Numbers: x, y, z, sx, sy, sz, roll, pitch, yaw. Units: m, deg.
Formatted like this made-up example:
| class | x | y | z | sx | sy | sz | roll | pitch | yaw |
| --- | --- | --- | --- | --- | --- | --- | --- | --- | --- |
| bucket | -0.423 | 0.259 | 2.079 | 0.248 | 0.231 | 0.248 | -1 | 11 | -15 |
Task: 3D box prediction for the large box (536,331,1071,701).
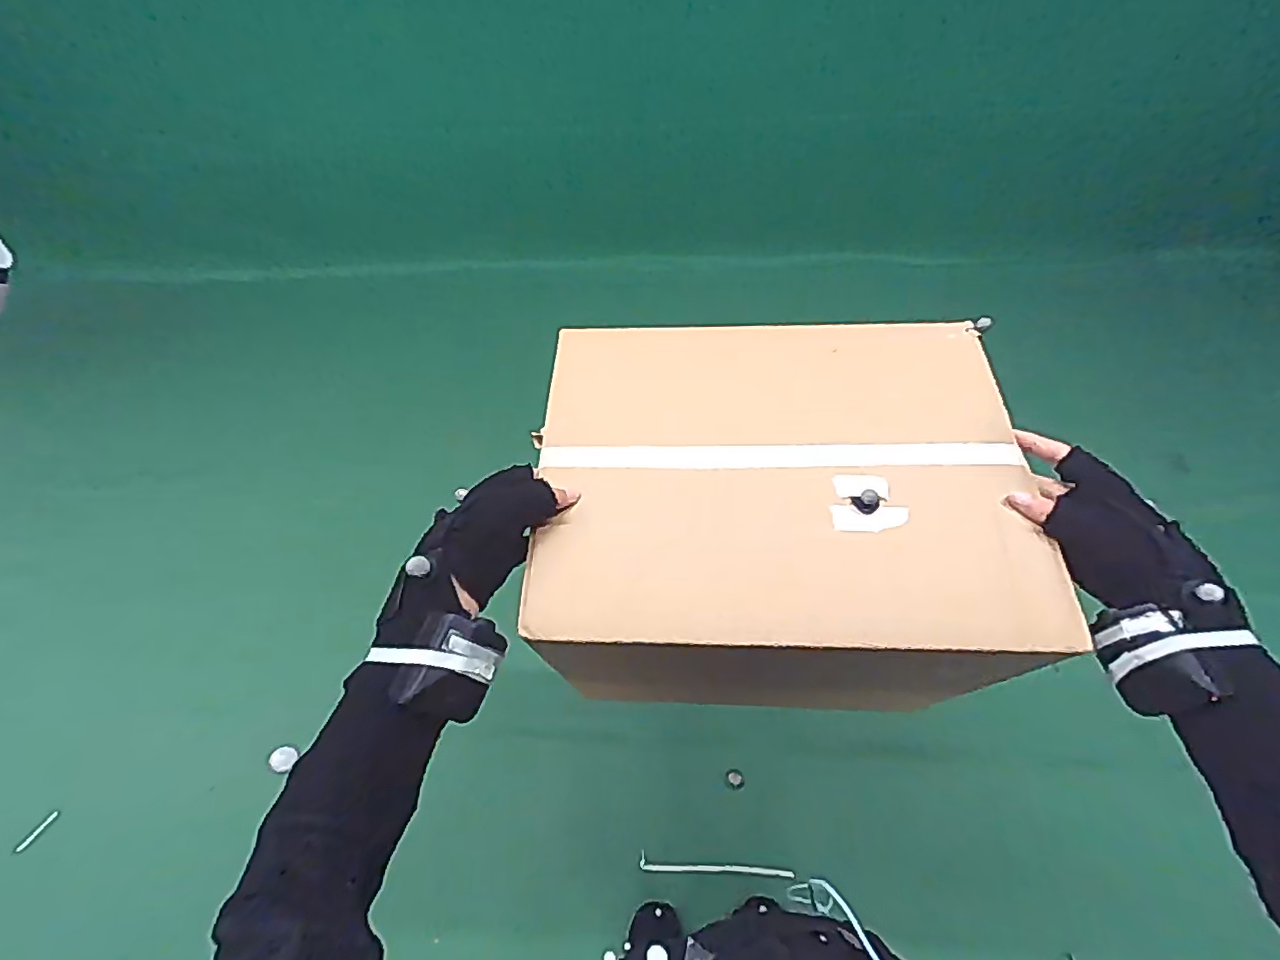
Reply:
| class | x | y | z | sx | sy | sz | roll | pitch | yaw |
| --- | --- | --- | --- | --- | --- | --- | --- | --- | --- |
| large box | 0.125 | 0.058 | 0.602 | 0.408 | 0.320 | 0.320 | 1 | 60 | 3 |
